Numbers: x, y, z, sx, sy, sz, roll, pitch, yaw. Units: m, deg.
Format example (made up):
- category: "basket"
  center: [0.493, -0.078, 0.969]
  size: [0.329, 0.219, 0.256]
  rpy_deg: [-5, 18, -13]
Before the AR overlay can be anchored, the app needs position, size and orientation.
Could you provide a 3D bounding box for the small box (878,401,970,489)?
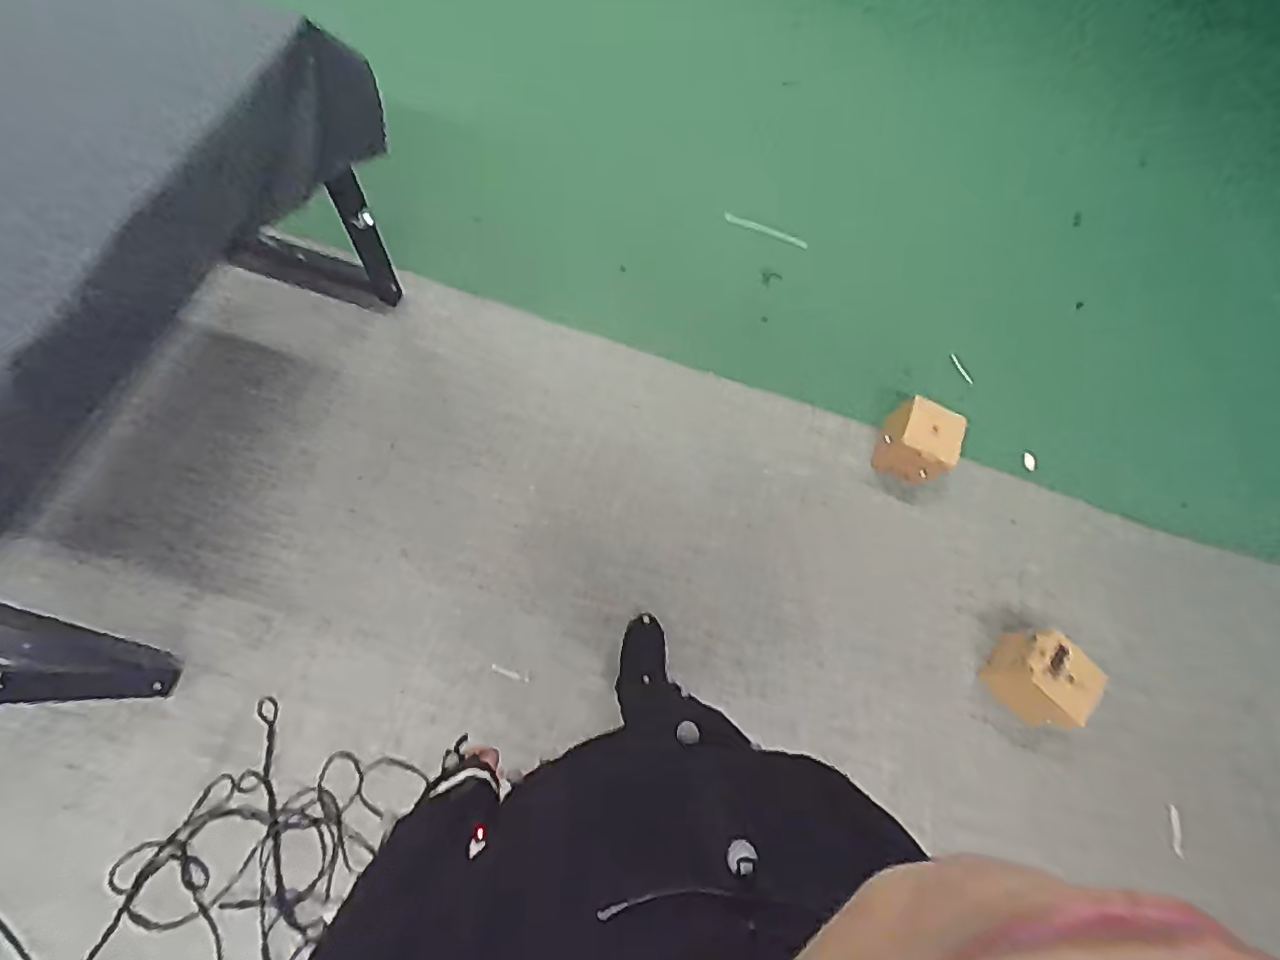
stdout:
- category: "small box"
  center: [0.835, -0.096, 1.603]
  size: [0.168, 0.176, 0.179]
  rpy_deg: [26, 67, 1]
